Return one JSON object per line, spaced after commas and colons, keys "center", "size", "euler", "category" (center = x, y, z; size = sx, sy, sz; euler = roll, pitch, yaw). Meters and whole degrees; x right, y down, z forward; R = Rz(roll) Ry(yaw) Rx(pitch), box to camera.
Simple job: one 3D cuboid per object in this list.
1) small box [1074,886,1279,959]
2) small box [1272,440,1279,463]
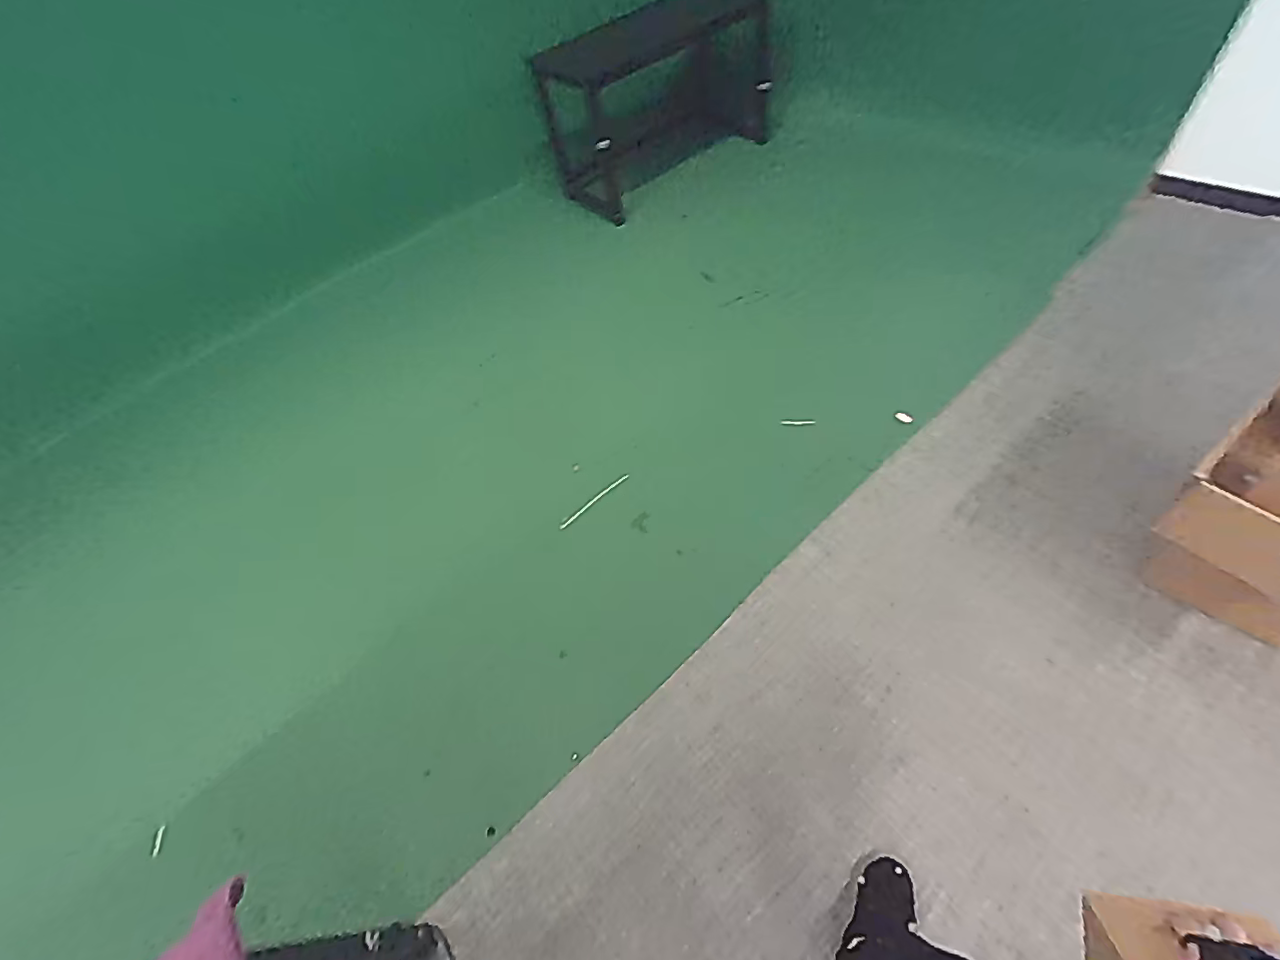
{"center": [0.580, 0.573, 0.551], "size": [0.168, 0.179, 0.176], "euler": [-4, 96, 19], "category": "small box"}
{"center": [1.547, -0.104, 1.163], "size": [0.179, 0.176, 0.168], "euler": [-38, 55, -14], "category": "small box"}
